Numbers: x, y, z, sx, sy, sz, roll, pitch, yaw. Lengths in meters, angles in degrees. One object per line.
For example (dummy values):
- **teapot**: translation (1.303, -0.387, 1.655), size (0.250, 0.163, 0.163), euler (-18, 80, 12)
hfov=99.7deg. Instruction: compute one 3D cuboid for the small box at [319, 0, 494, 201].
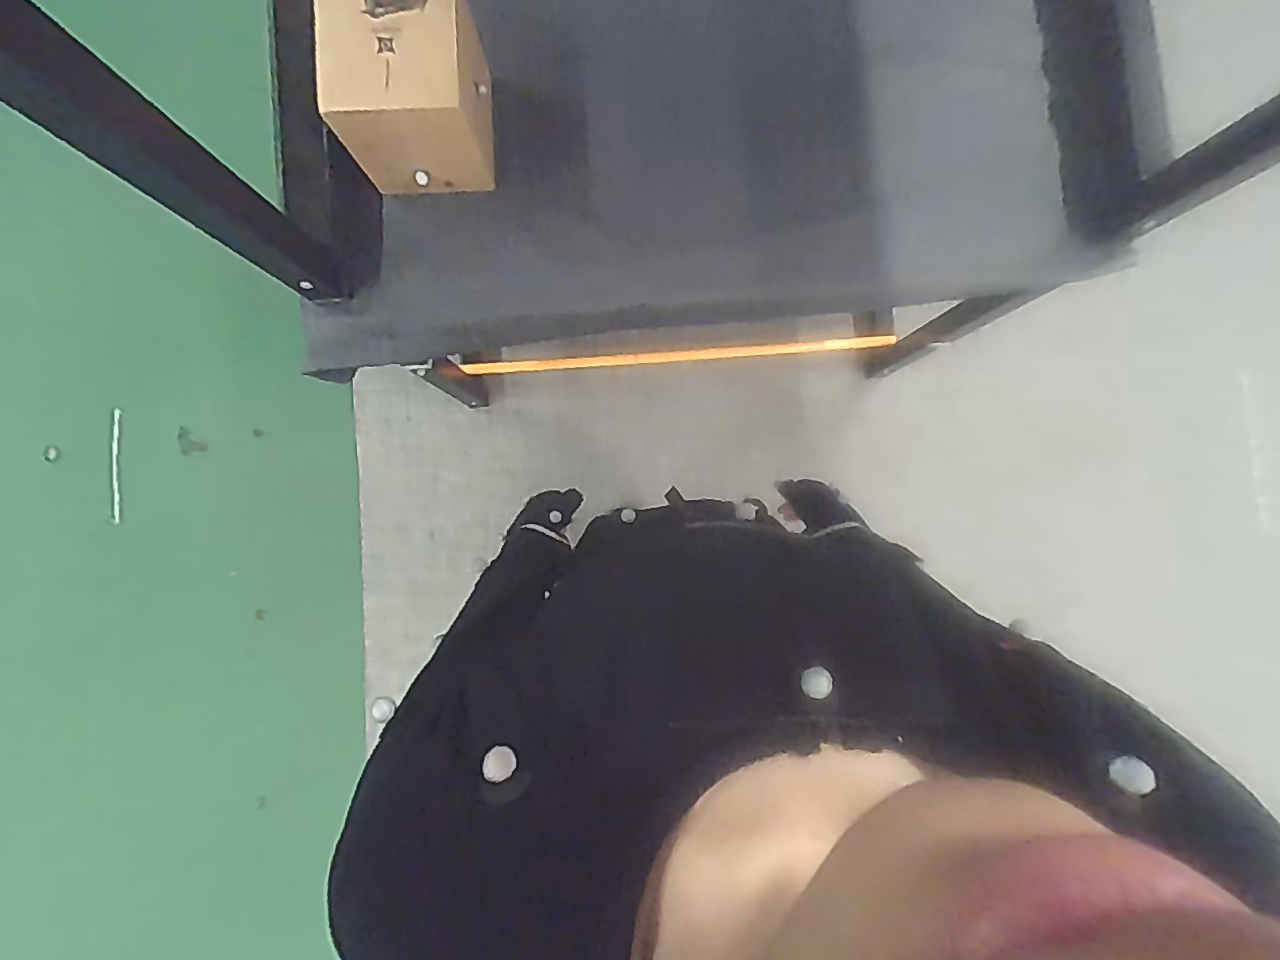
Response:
- **small box**: translation (-0.296, -0.502, 0.717), size (0.168, 0.176, 0.179), euler (-3, 87, -1)
